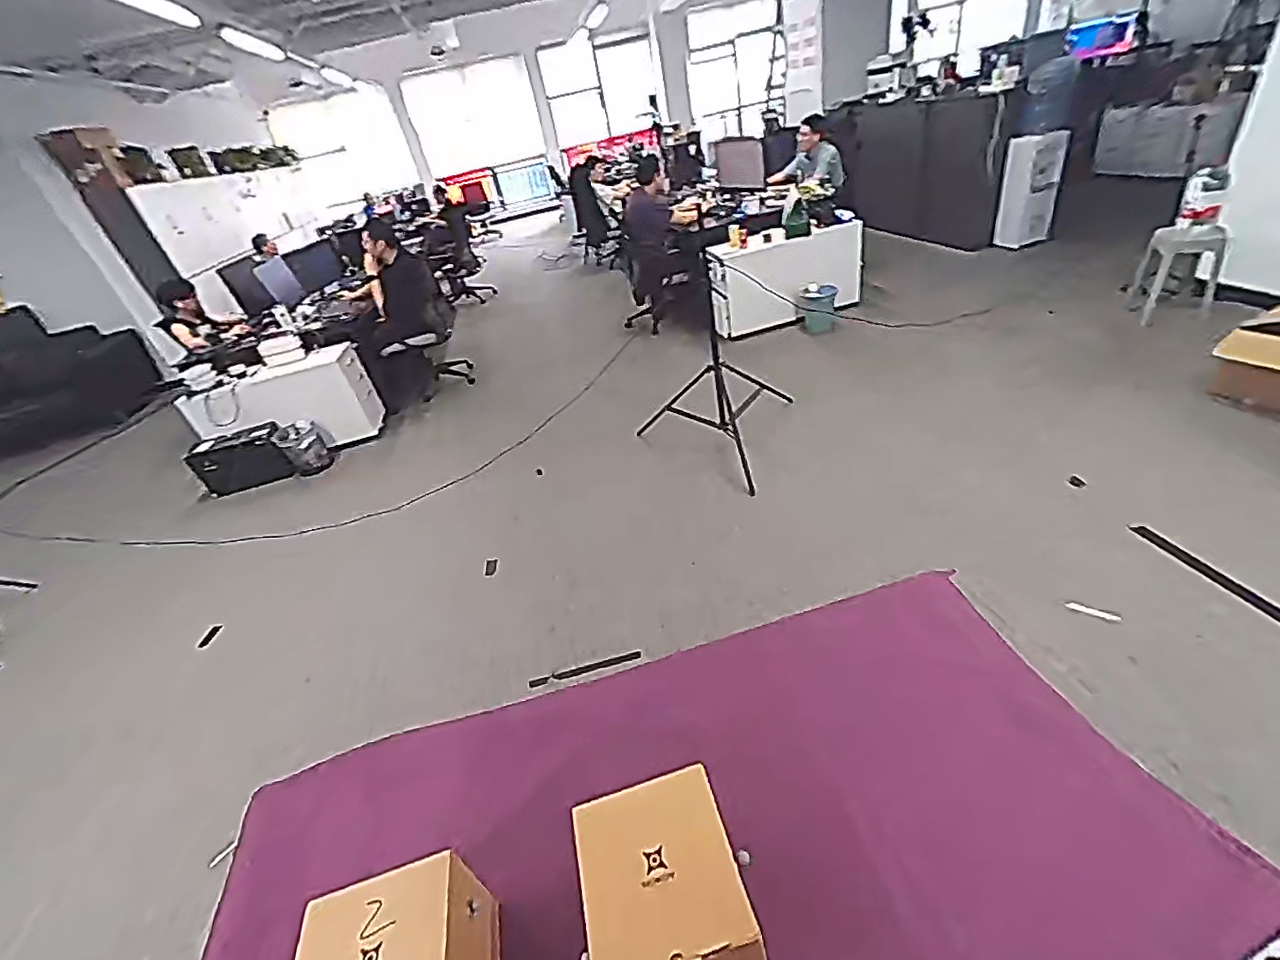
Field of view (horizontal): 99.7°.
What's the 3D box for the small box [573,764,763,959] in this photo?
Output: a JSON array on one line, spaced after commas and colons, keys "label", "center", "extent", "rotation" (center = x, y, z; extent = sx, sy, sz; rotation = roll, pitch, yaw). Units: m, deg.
[{"label": "small box", "center": [0.031, 0.473, 0.620], "extent": [0.168, 0.176, 0.179], "rotation": [-17, 34, -5]}]
